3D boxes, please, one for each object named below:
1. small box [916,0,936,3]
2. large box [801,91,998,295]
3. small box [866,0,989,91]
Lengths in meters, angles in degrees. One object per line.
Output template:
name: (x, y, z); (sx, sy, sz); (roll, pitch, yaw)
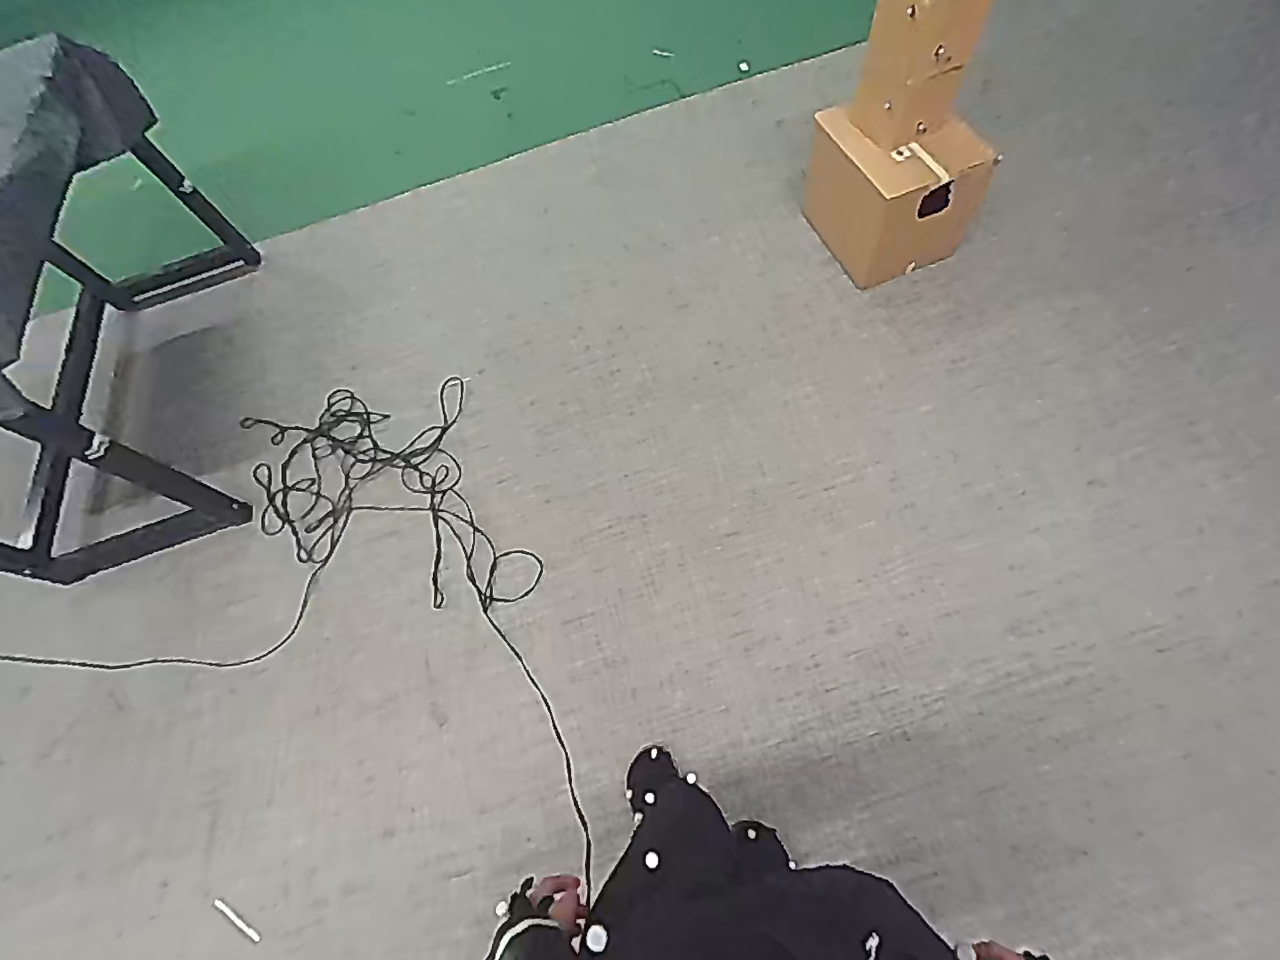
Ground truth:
small box: (0.629, -1.110, 1.092); (0.168, 0.176, 0.179); (-22, 64, -3)
large box: (0.719, -0.832, 1.582); (0.320, 0.320, 0.408); (-22, 64, -1)
small box: (0.648, -1.040, 1.238); (0.168, 0.176, 0.179); (-22, 64, -2)
